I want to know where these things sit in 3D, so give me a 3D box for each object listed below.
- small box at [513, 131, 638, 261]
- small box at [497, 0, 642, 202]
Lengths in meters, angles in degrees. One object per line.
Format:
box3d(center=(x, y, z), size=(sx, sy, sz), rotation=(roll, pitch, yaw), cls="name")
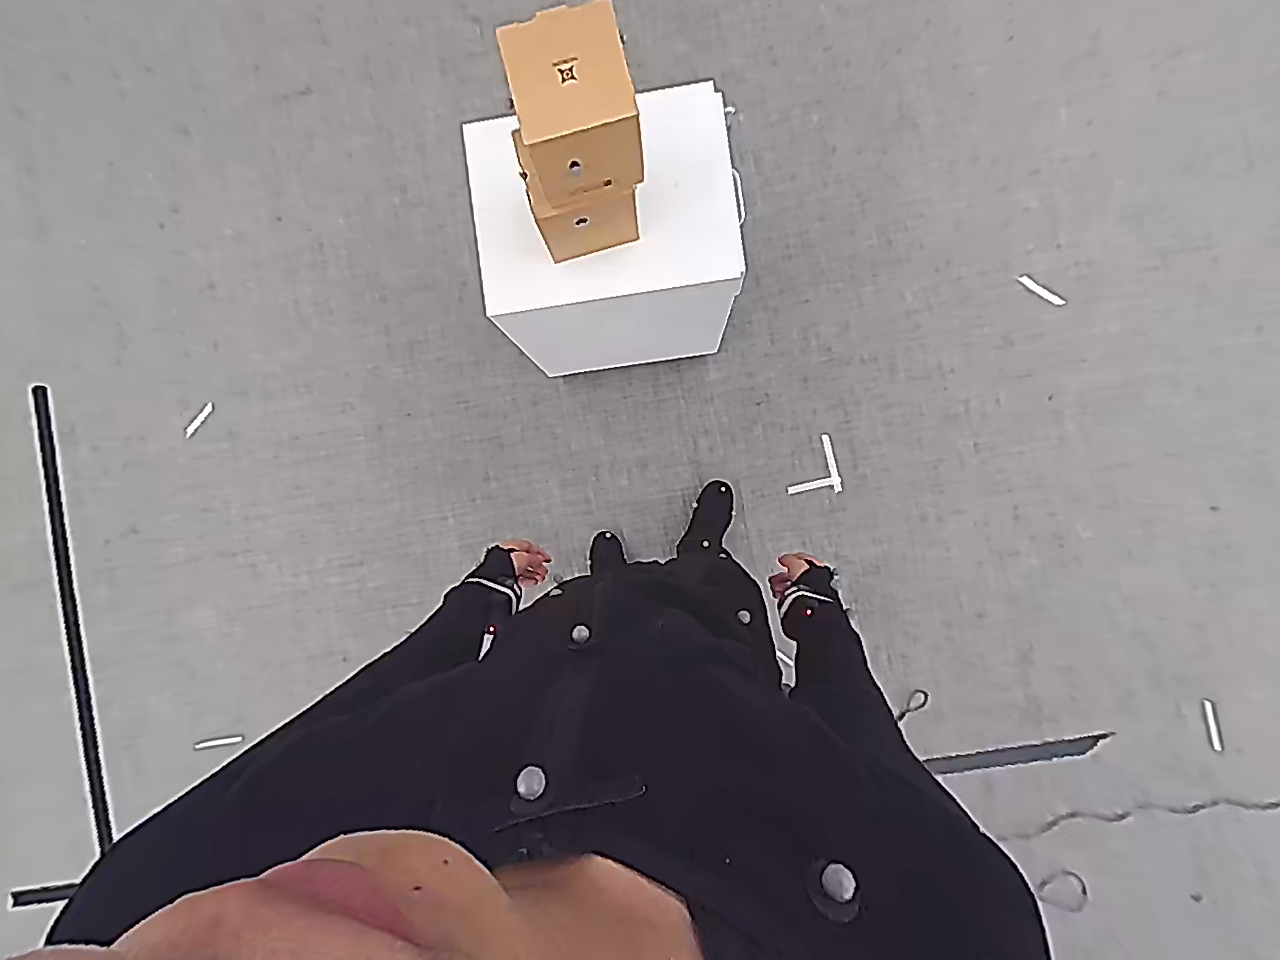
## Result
box3d(center=(-0.109, -0.527, 0.984), size=(0.179, 0.176, 0.168), rotation=(-15, 87, 2), cls="small box")
box3d(center=(-0.096, -0.554, 0.822), size=(0.168, 0.176, 0.179), rotation=(-14, 87, 2), cls="small box")
